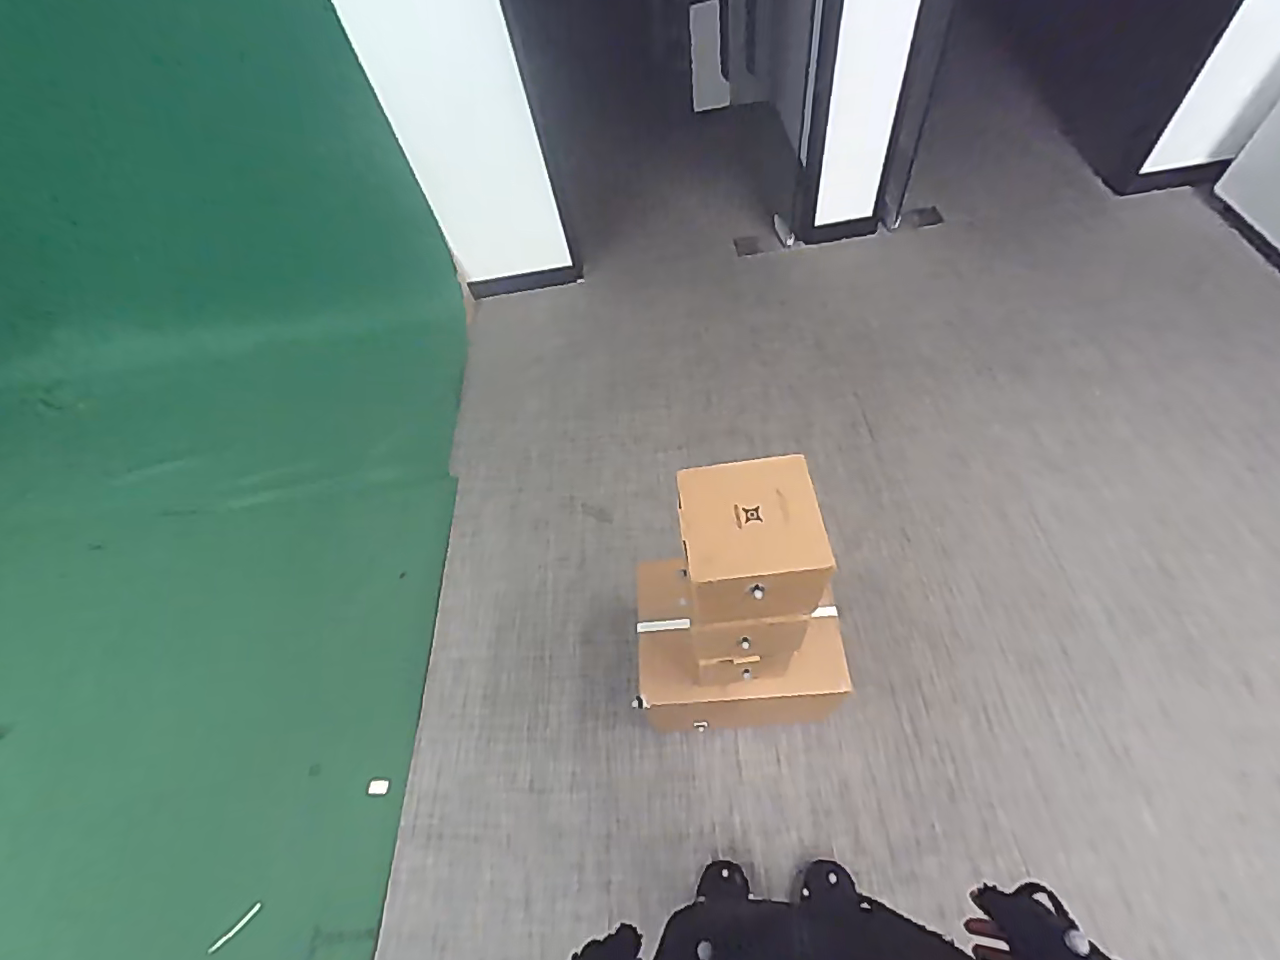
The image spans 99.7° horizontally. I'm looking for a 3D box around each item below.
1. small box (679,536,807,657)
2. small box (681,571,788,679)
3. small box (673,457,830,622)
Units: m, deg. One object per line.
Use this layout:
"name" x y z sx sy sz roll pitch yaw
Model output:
"small box" 0.161 0.183 0.886 0.179 0.176 0.168 -7 57 6
"small box" 0.175 0.270 1.025 0.168 0.176 0.179 -9 58 3
"small box" 0.145 0.090 0.754 0.179 0.176 0.168 -7 58 3
